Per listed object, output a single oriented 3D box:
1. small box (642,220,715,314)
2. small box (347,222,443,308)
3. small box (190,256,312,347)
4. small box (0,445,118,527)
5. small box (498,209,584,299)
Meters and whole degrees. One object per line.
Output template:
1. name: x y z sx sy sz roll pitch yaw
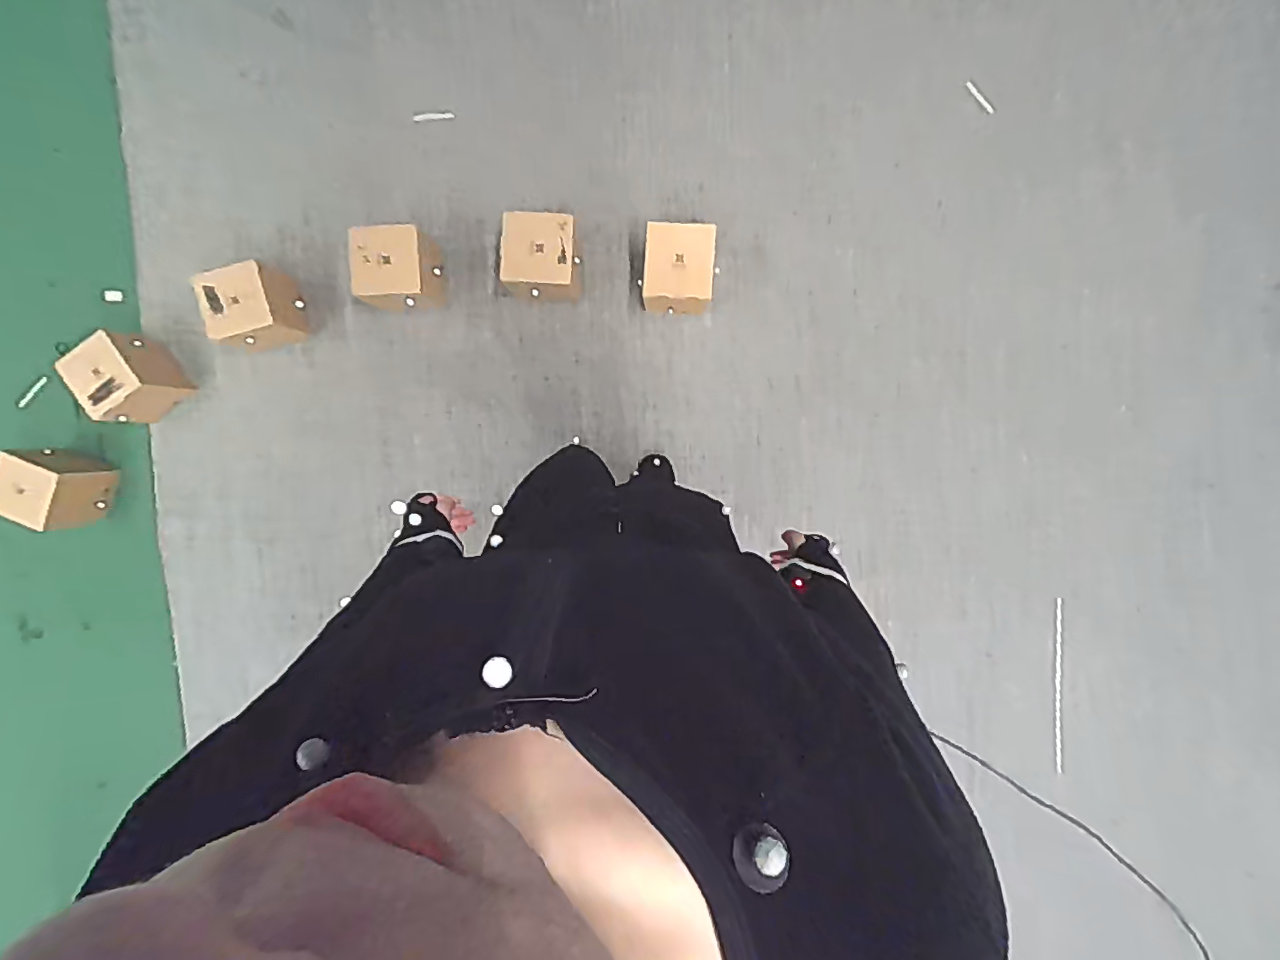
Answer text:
1. small box: 0.093 -0.532 1.363 0.168 0.176 0.179 4 95 2
2. small box: -0.620 -0.546 1.391 0.179 0.176 0.168 -1 94 3
3. small box: -1.008 -0.457 1.415 0.179 0.176 0.168 -14 94 3
4. small box: -1.610 0.012 1.481 0.179 0.176 0.168 22 95 1
5. small box: -0.247 -0.567 1.373 0.179 0.176 0.168 4 95 3
